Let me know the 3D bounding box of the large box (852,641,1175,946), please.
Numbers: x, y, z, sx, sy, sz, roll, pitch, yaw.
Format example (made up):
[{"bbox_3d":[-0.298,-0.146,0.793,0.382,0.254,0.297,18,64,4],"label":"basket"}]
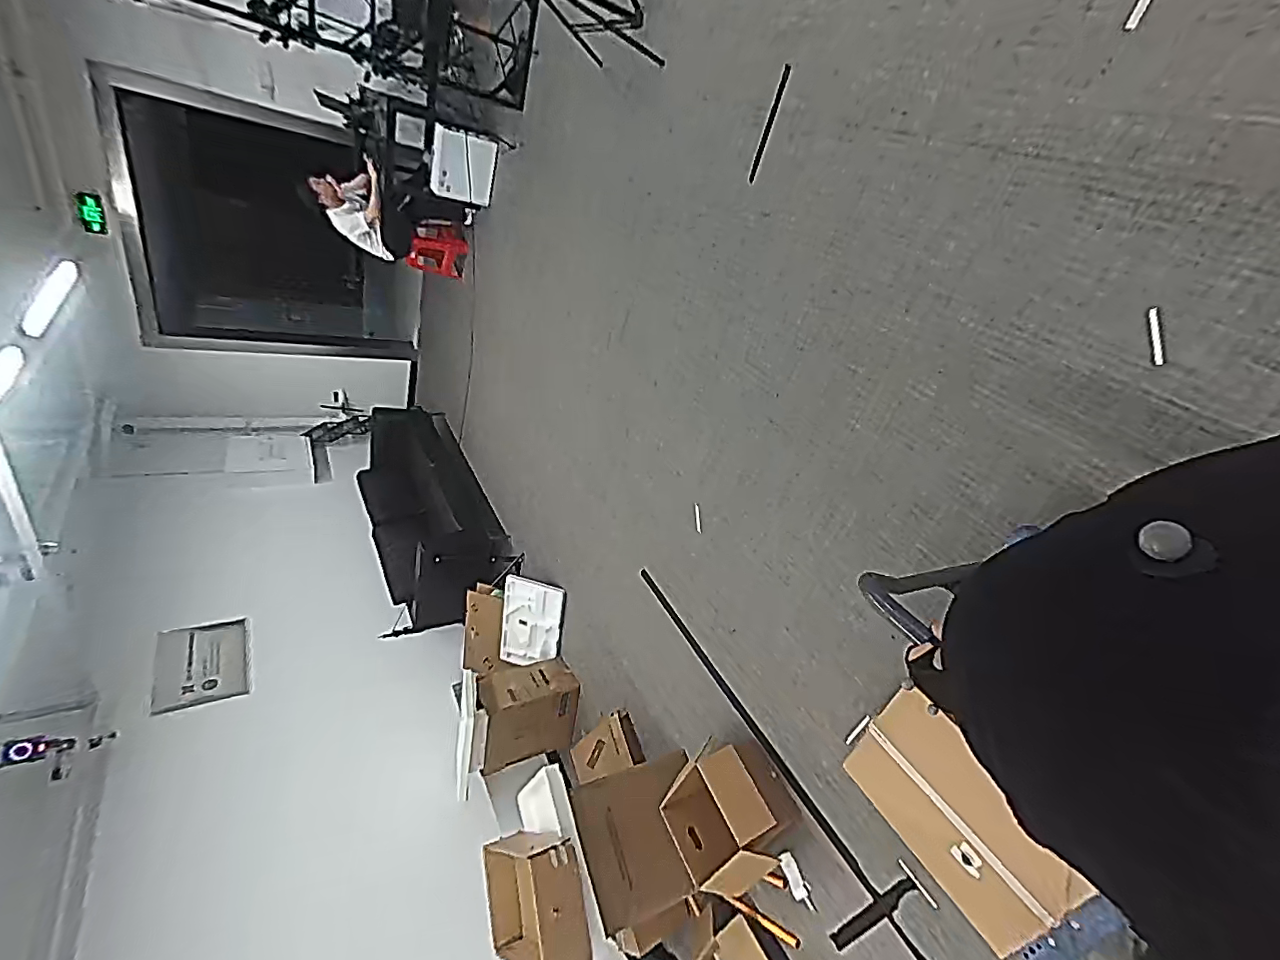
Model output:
[{"bbox_3d":[0.753,0.617,1.139,0.408,0.320,0.320,48,131,42],"label":"large box"}]
